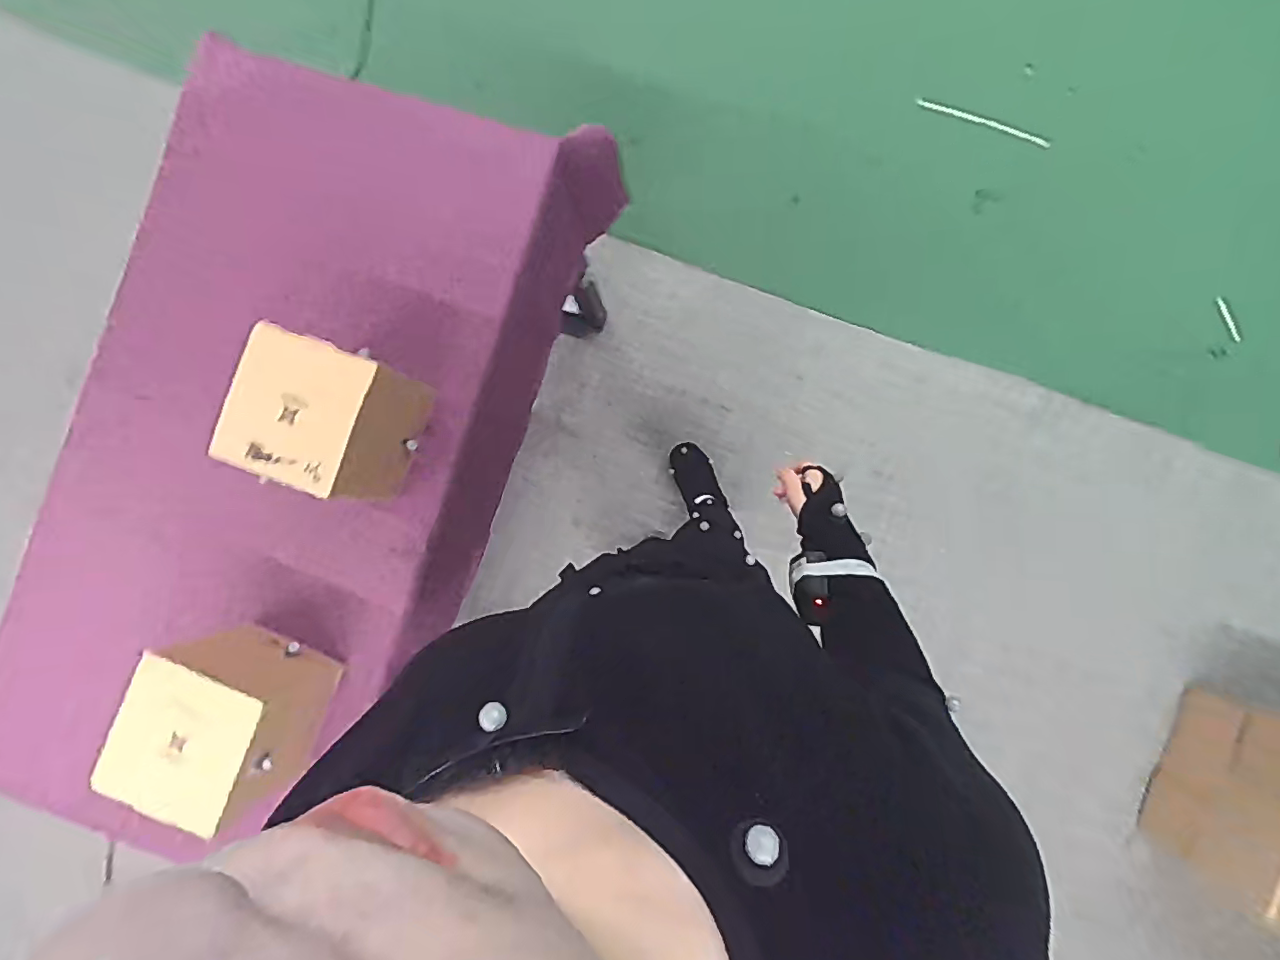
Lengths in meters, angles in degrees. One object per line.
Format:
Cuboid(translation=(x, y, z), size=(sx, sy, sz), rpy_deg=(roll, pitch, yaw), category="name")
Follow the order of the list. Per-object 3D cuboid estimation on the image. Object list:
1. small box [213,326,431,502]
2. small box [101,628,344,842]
Cuboid(translation=(-0.411, -0.078, 0.734), size=(0.168, 0.176, 0.179), rpy_deg=(20, 88, 5), category="small box")
Cuboid(translation=(-0.538, 0.324, 0.724), size=(0.168, 0.176, 0.179), rpy_deg=(21, 88, 4), category="small box")
